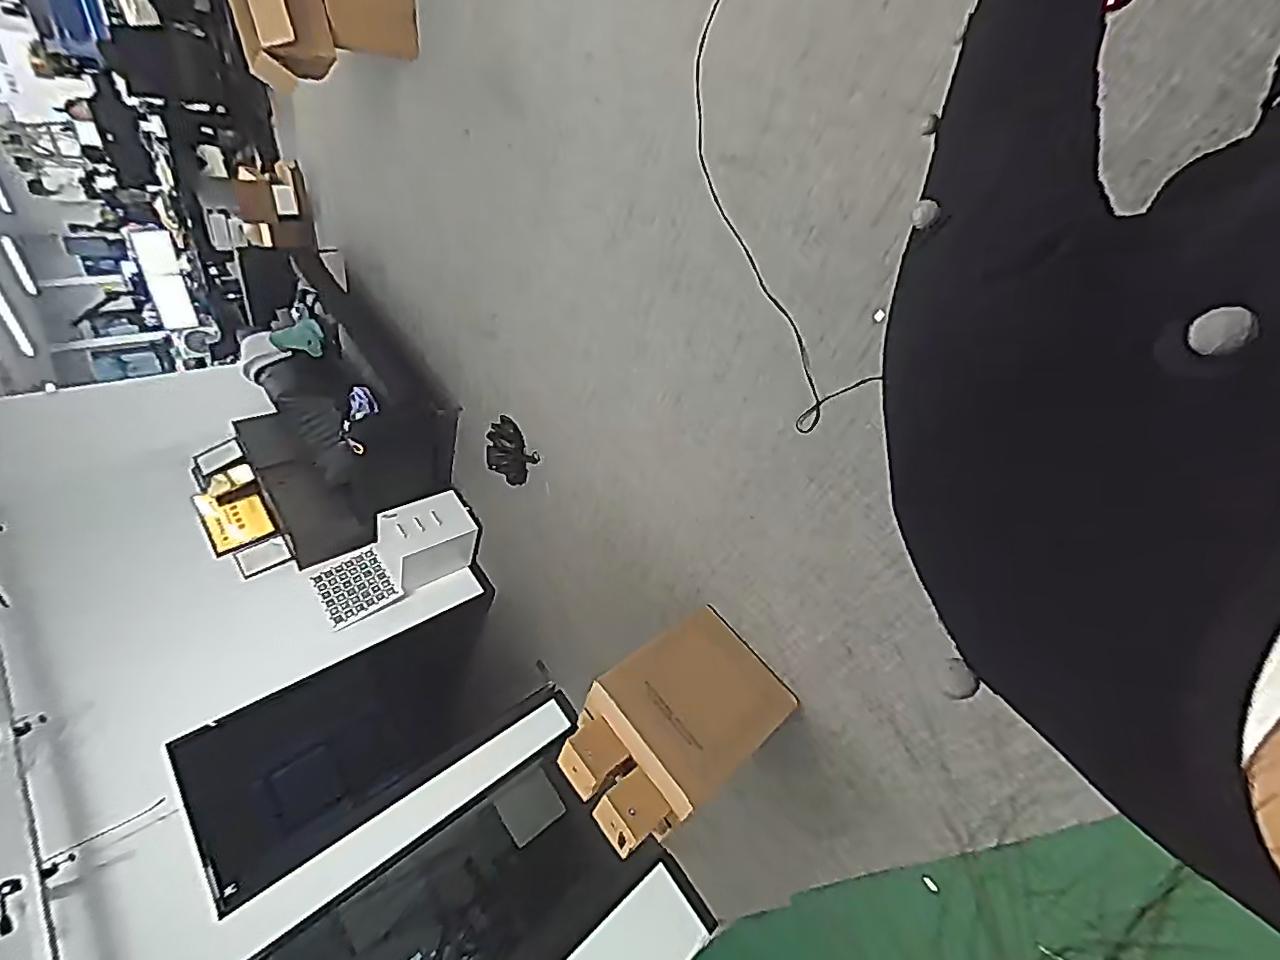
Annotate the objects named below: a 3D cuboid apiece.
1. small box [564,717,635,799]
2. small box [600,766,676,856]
[{"bbox_3d":[-0.144,0.998,1.954,0.179,0.176,0.168,43,130,30],"label":"small box"},{"bbox_3d":[-0.006,1.128,1.854,0.179,0.176,0.168,44,131,28],"label":"small box"}]
